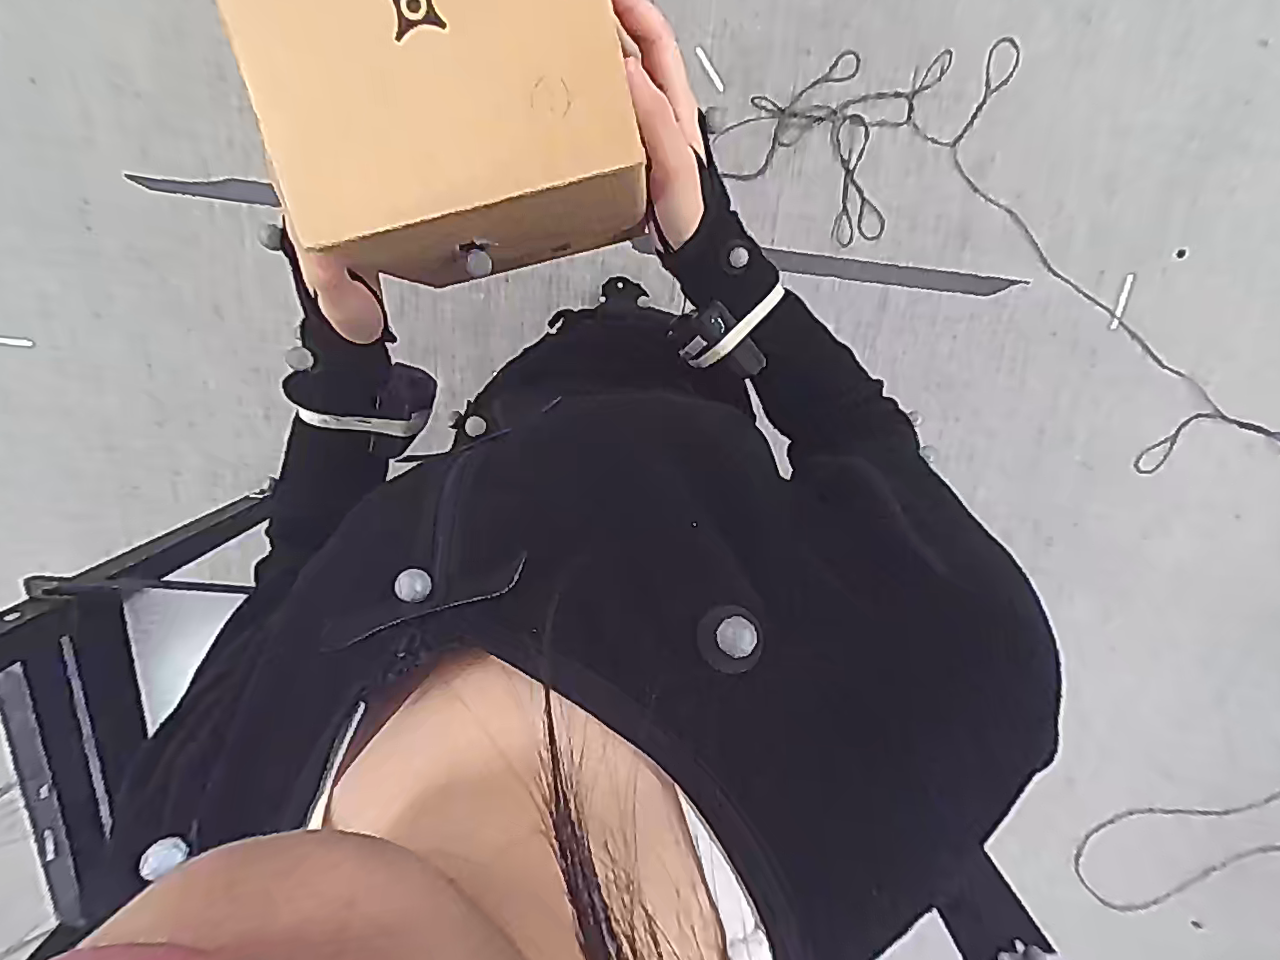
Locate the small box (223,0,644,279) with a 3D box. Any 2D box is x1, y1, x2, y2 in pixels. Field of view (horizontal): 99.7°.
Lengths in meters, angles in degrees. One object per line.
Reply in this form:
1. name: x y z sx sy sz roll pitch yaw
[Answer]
1. small box: -0.093 -0.224 0.307 0.168 0.176 0.179 -13 102 3
